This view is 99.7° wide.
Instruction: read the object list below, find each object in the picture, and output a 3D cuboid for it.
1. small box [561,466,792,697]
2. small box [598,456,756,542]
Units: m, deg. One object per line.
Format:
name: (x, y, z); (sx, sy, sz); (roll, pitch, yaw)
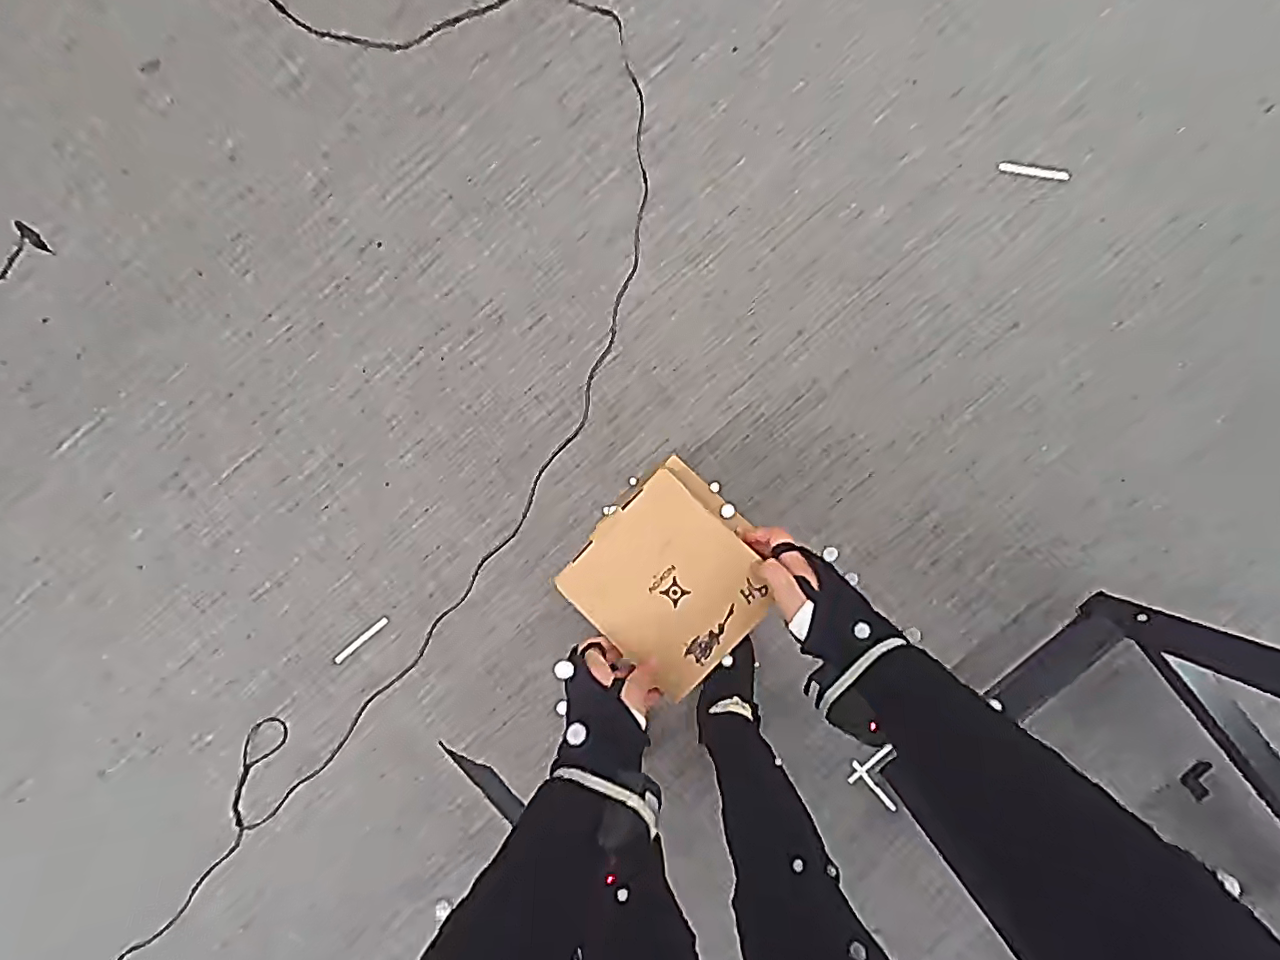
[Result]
small box: (0.043, 0.104, 0.620); (0.179, 0.176, 0.168); (44, 95, 6)
small box: (0.048, 0.080, 0.836); (0.168, 0.176, 0.179); (42, 91, -3)
